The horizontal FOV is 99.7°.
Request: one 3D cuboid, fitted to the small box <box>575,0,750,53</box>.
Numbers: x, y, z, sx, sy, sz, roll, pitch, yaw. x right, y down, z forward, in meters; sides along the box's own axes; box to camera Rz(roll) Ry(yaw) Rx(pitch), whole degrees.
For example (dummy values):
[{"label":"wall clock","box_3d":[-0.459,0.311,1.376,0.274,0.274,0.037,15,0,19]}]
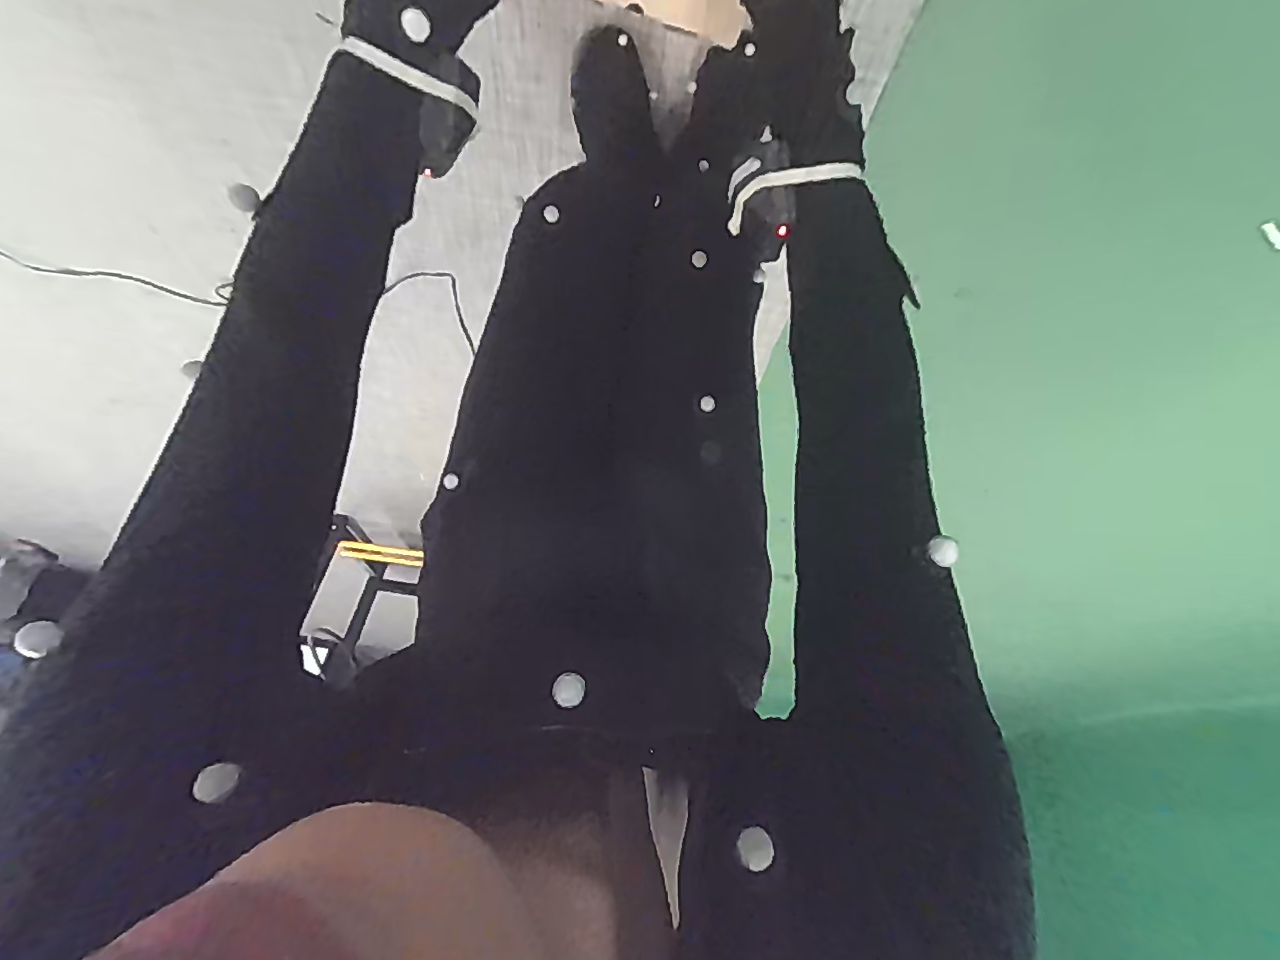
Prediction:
[{"label":"small box","box_3d":[0.016,-0.452,0.371,0.168,0.176,0.179,8,146,-13]}]
